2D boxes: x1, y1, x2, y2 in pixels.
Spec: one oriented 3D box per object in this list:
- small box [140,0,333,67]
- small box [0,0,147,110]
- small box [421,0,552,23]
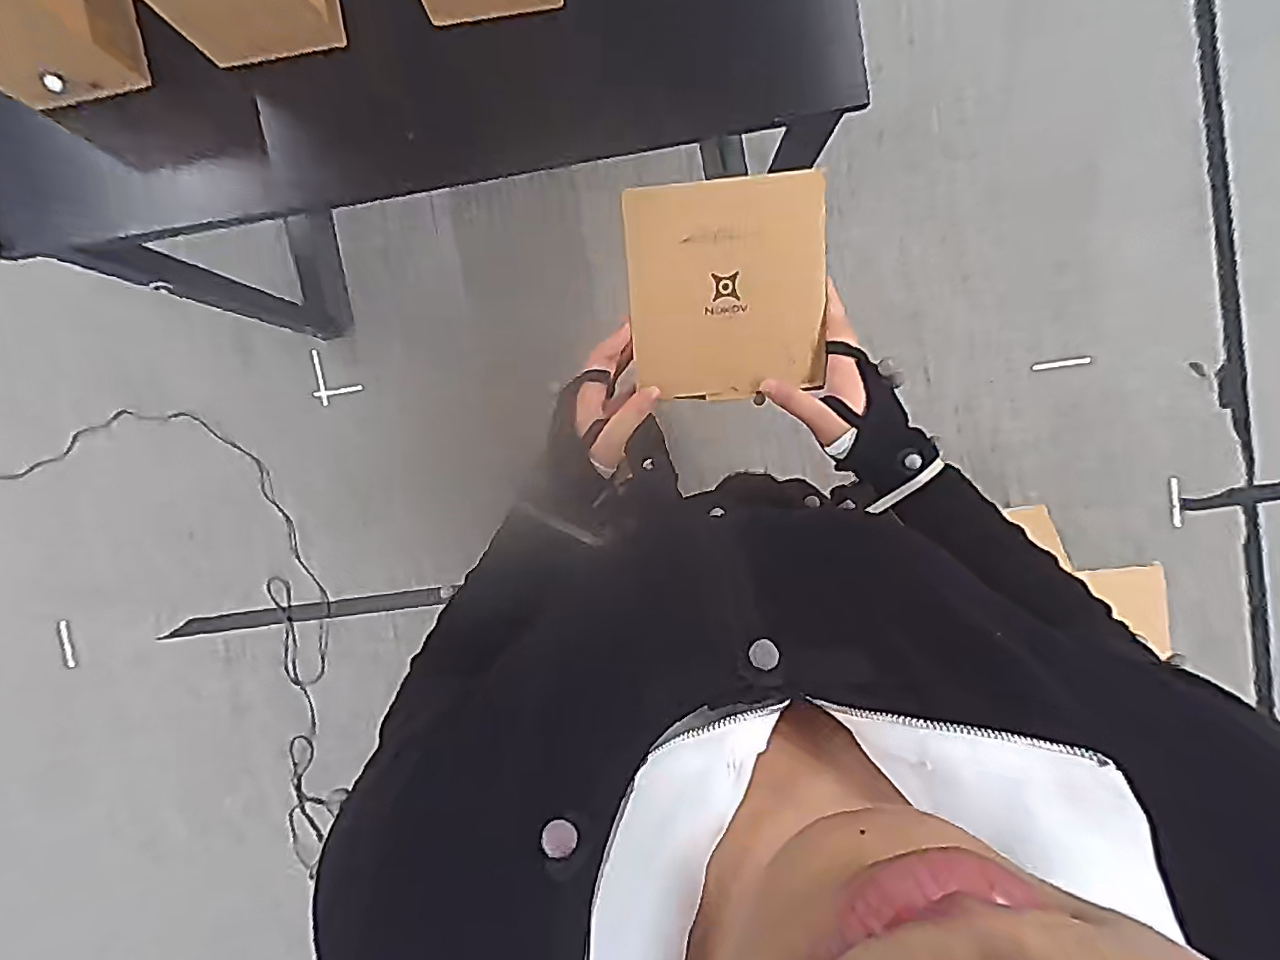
[{"bbox_3d":[-0.493,-0.637,0.637,0.179,0.176,0.168,-10,94,1],"label":"small box"},{"bbox_3d":[-0.756,-0.592,0.645,0.168,0.176,0.179,-11,95,2],"label":"small box"},{"bbox_3d":[-0.204,-0.685,0.631,0.179,0.176,0.168,-8,94,2],"label":"small box"}]
